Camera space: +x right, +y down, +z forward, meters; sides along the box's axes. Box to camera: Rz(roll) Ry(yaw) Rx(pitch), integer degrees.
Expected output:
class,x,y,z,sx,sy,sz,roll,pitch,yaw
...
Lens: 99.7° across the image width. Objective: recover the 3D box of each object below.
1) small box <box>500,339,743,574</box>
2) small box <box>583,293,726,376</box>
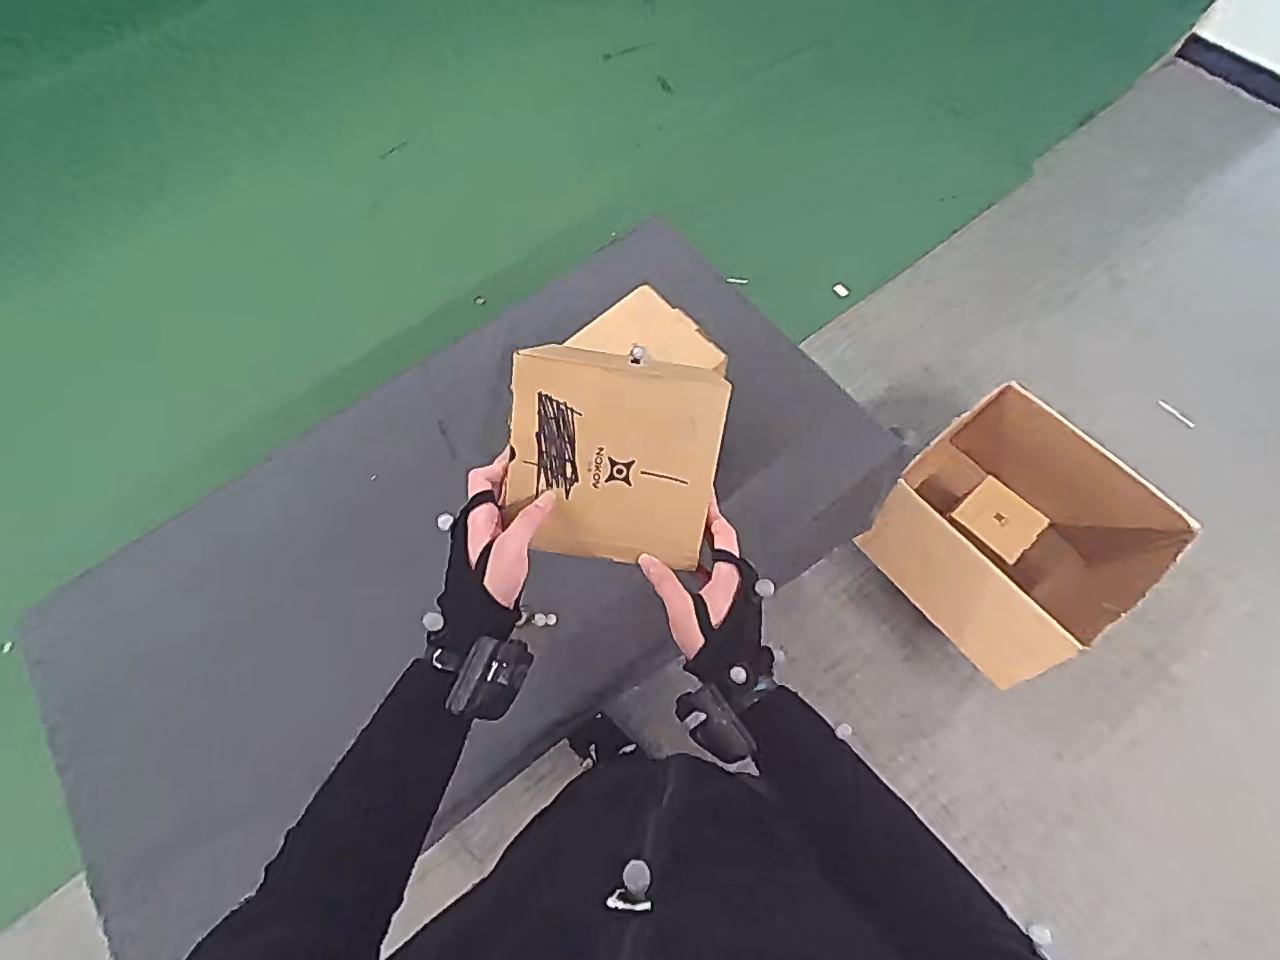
class,x,y,z,sx,sy,sz,roll,pitch,yaw
small box,-0.017,-0.036,0.521,0.179,0.176,0.168,12,109,-2
small box,0.002,-0.132,0.809,0.179,0.176,0.168,-41,74,-12
